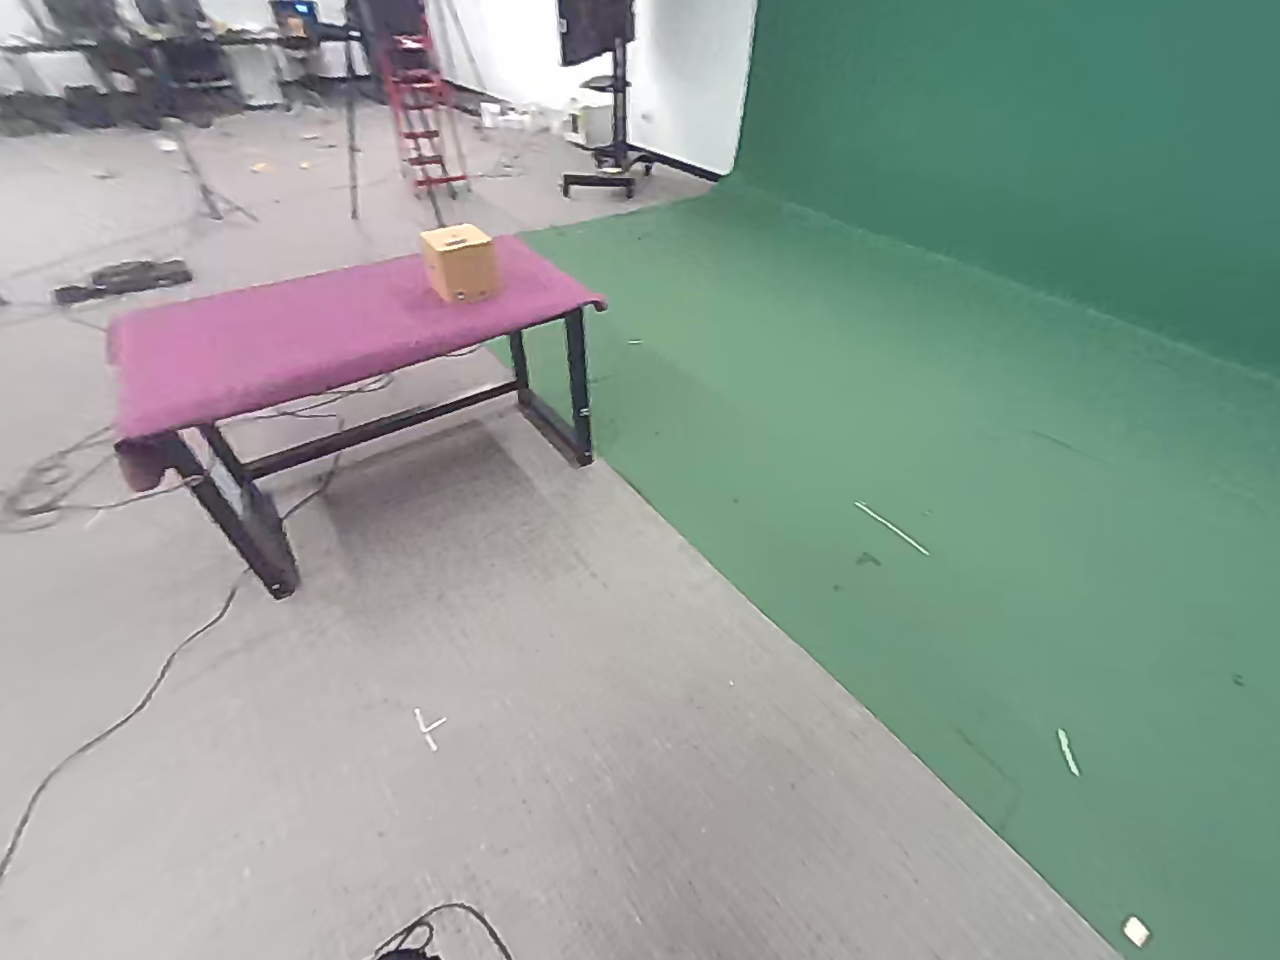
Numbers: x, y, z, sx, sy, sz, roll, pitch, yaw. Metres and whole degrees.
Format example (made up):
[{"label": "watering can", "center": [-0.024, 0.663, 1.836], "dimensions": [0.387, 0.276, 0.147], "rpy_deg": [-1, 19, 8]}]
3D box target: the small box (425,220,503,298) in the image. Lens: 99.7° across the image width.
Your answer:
[{"label": "small box", "center": [-0.530, -0.666, 1.641], "dimensions": [0.168, 0.176, 0.179], "rpy_deg": [-21, 49, -24]}]
